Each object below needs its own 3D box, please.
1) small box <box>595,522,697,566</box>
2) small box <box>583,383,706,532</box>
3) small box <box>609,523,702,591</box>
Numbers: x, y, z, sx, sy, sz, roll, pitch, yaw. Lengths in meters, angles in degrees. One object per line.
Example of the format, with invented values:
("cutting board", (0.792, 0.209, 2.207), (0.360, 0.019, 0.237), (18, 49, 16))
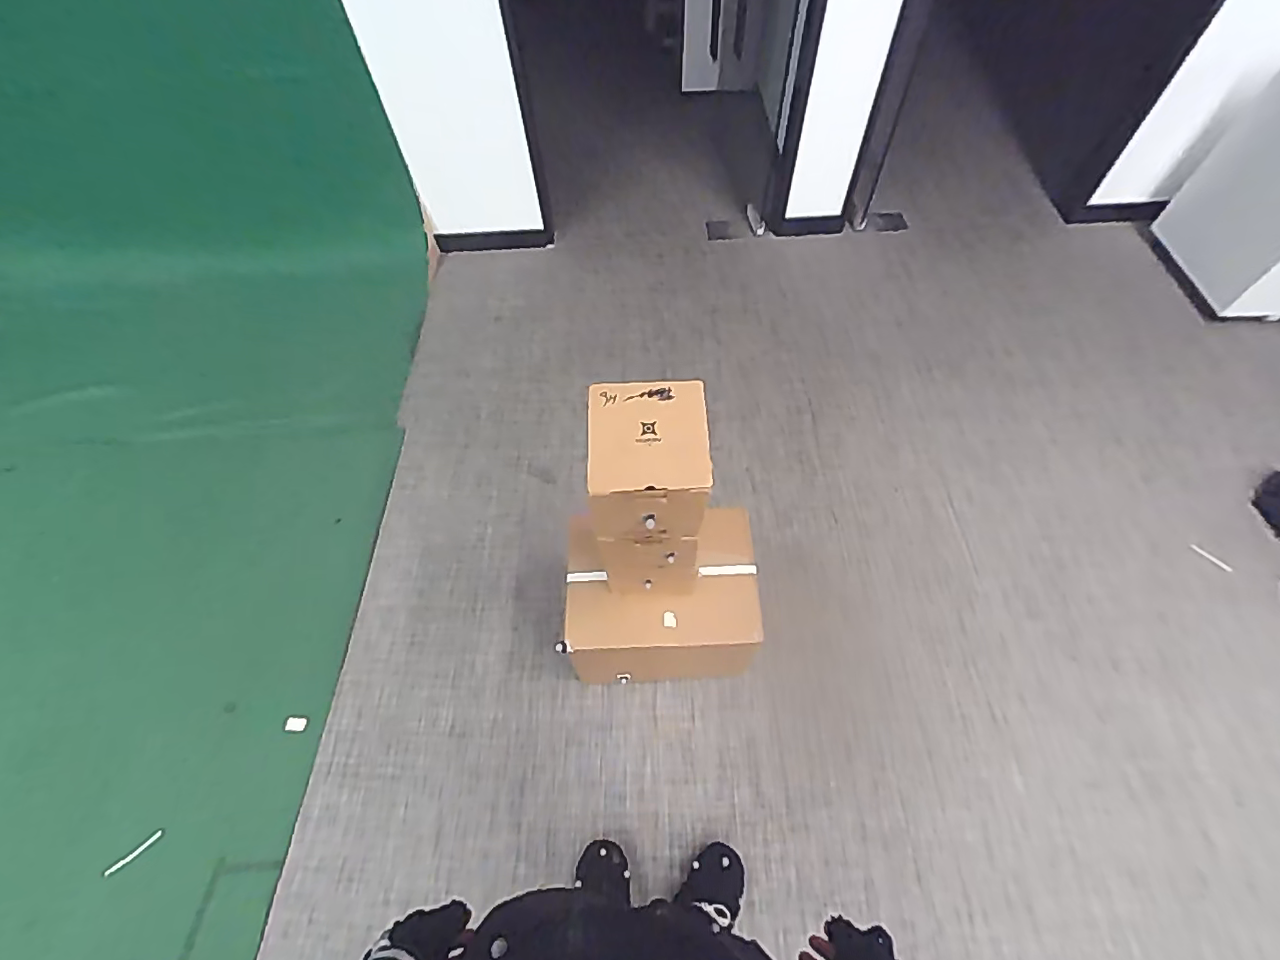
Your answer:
("small box", (0.012, 0.051, 0.963), (0.168, 0.176, 0.179), (-2, 63, 1))
("small box", (0.008, -0.025, 0.817), (0.168, 0.176, 0.179), (-2, 65, 1))
("small box", (0.028, 0.126, 1.105), (0.179, 0.176, 0.168), (-2, 64, 1))
